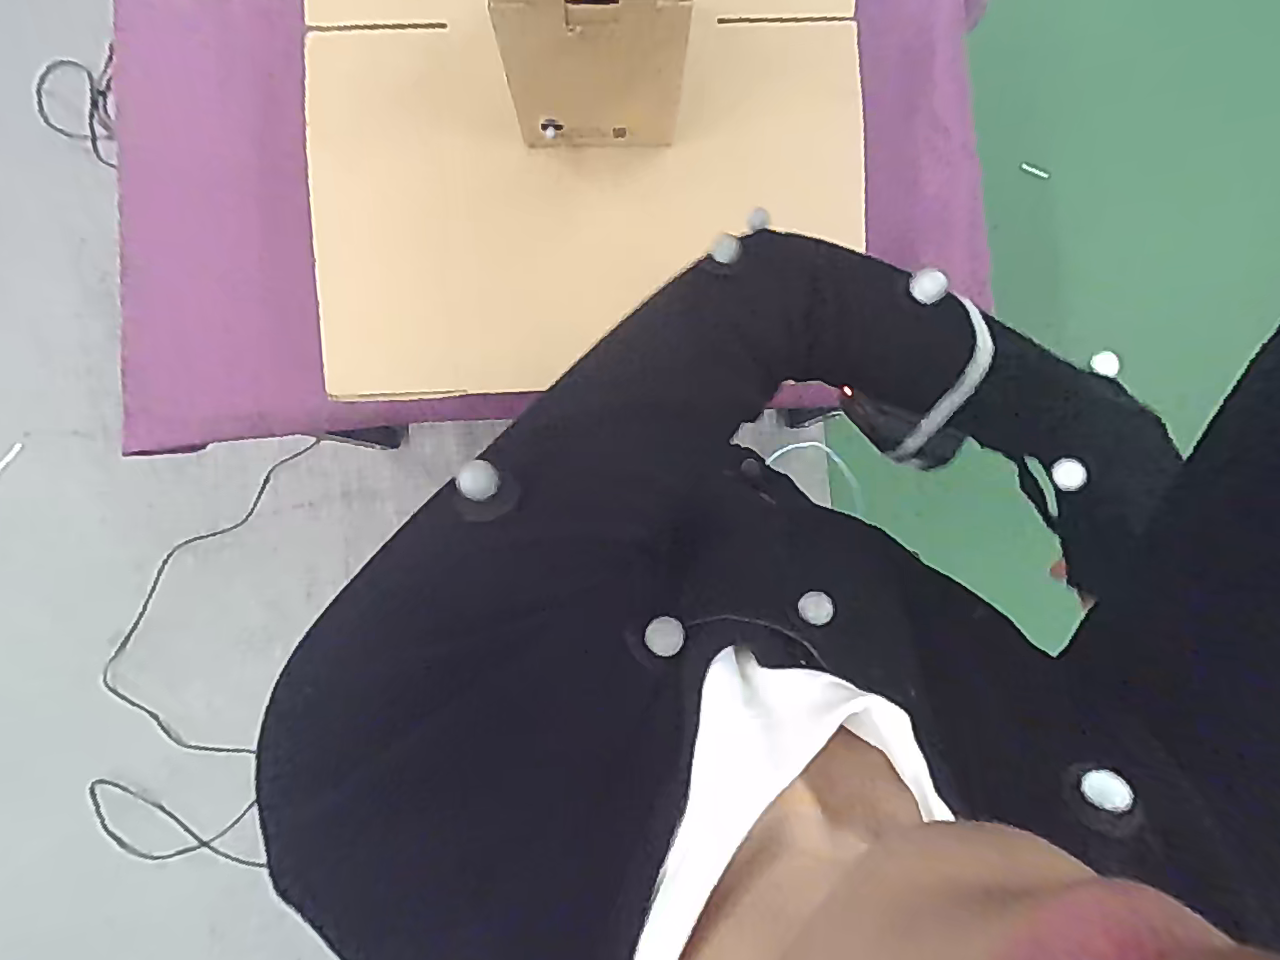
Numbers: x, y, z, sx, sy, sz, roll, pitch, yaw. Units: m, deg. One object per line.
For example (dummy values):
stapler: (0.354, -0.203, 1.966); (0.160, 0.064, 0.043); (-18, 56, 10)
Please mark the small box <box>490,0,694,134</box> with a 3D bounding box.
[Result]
small box: (-0.045, -0.456, 0.506); (0.168, 0.176, 0.179); (-5, 89, -3)
